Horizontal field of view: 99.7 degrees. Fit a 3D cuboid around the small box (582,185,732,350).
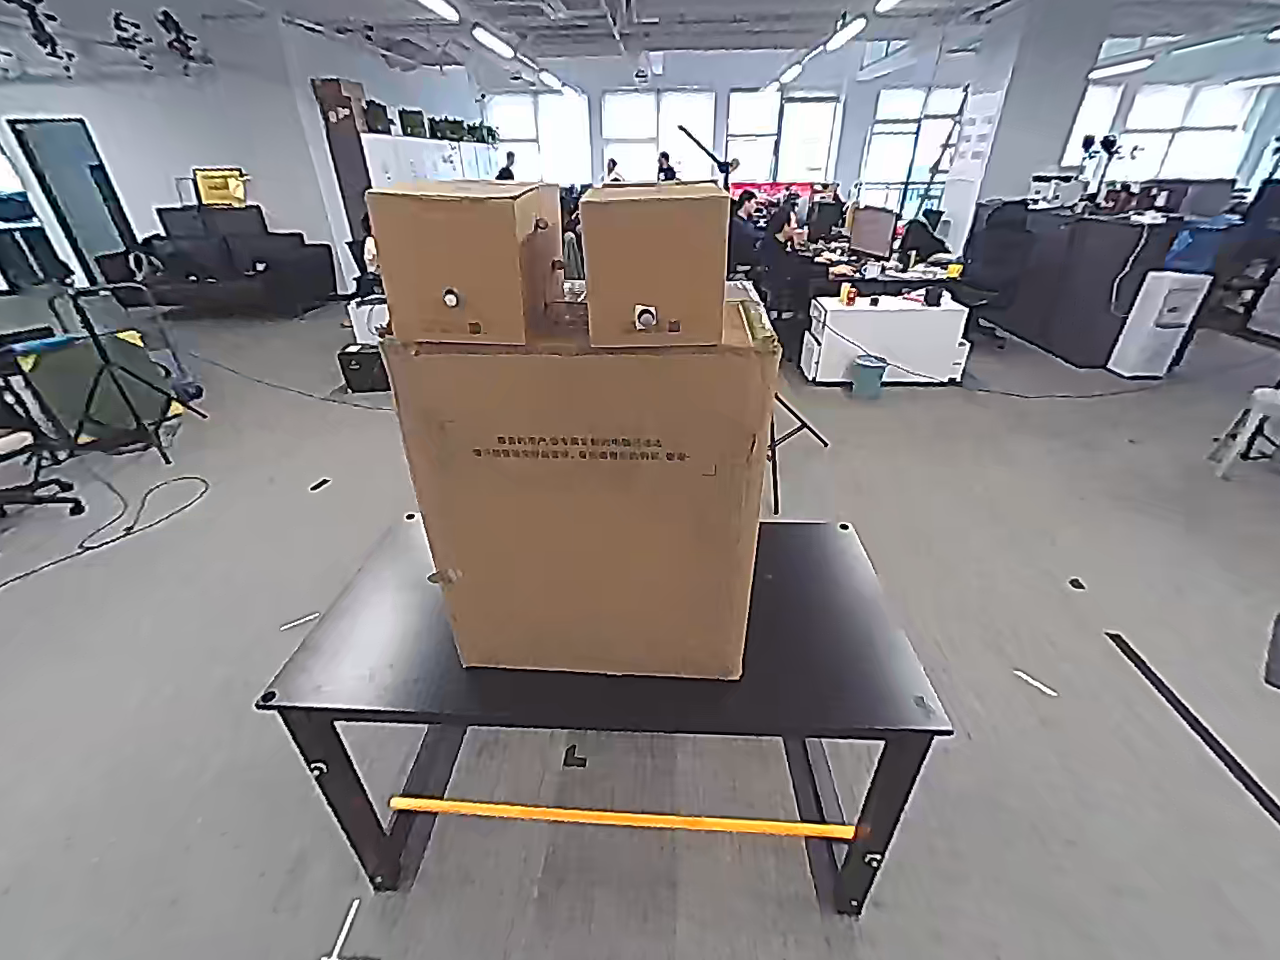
[{"bbox_3d":[0.019,-0.274,0.693,0.168,0.176,0.179,-3,33,0],"label":"small box"}]
